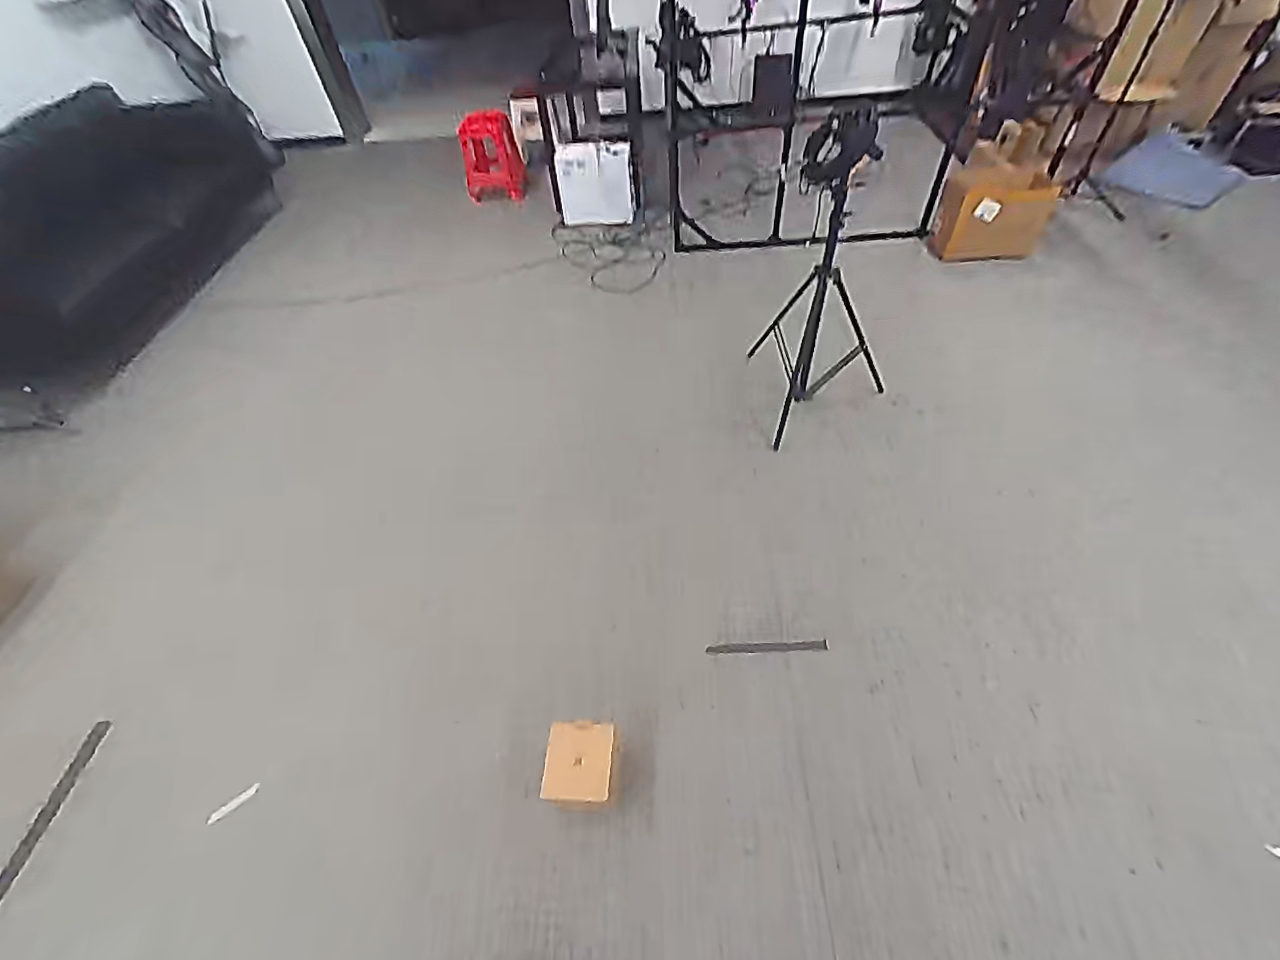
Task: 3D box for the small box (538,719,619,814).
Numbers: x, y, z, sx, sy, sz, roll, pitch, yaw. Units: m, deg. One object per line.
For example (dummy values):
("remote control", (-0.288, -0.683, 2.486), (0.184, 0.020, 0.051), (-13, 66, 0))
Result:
("small box", (-0.147, 0.729, 1.375), (0.168, 0.176, 0.179), (-1, 49, 7))
